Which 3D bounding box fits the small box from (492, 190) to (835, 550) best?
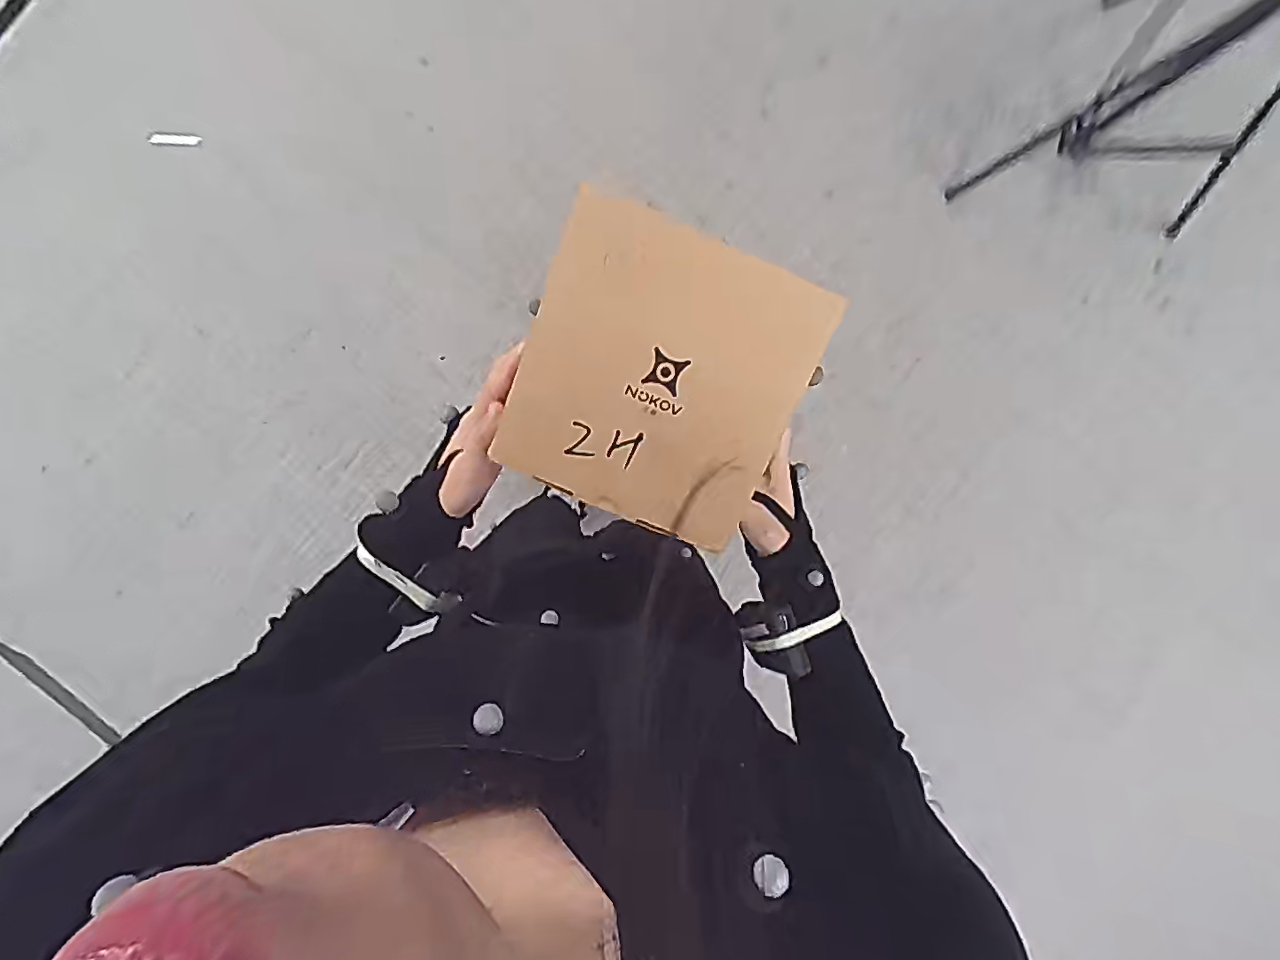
[{"bbox_3d":[0.012,-0.079,0.411,0.168,0.176,0.179,22,104,-3],"label":"small box"}]
